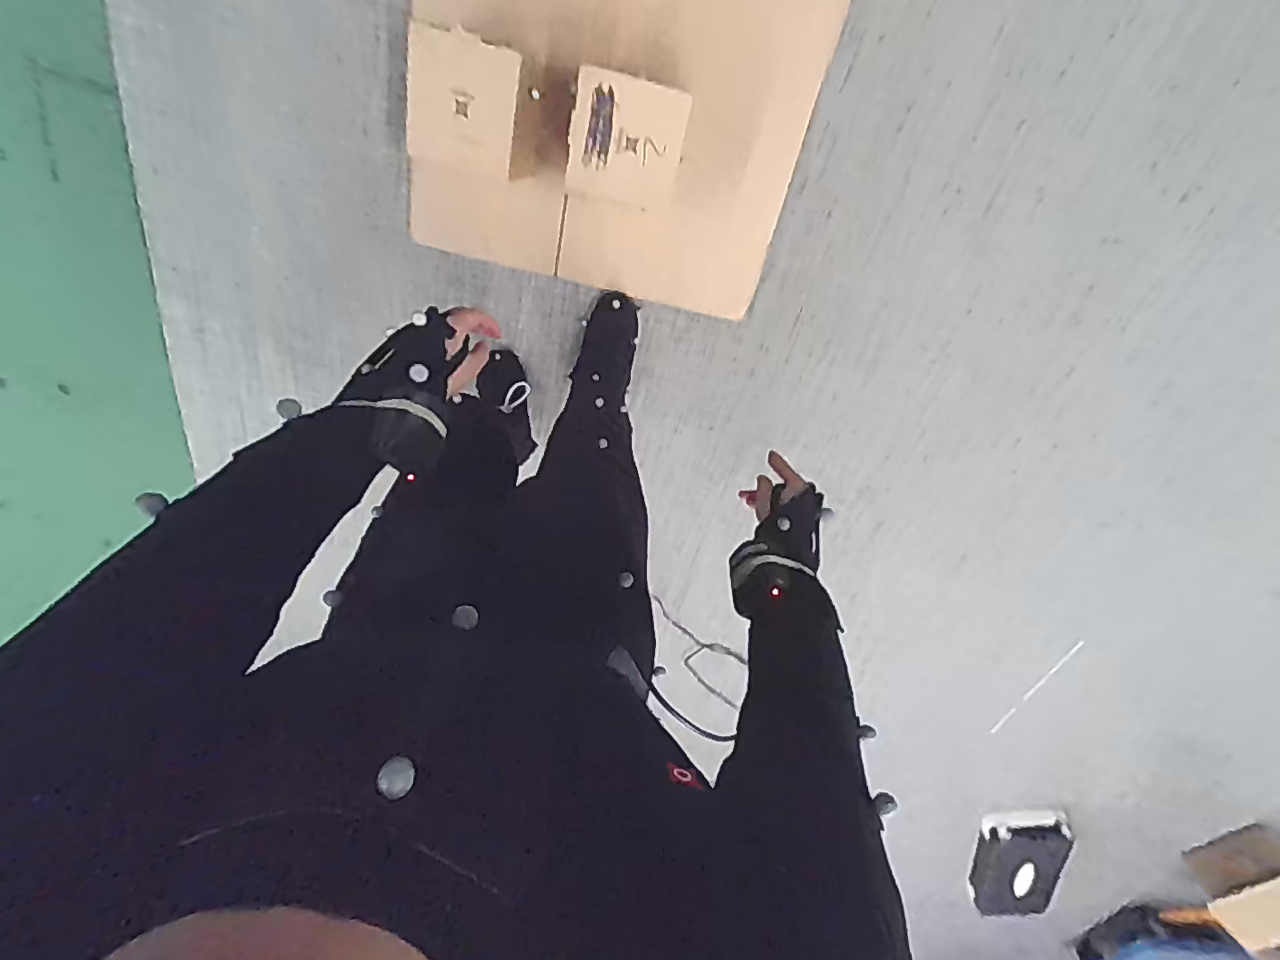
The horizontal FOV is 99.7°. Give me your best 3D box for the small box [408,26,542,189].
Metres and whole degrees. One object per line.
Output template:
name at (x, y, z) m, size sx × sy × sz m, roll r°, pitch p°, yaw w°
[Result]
small box at (-0.265, -0.602, 0.891) m, size 0.168 × 0.176 × 0.179 m, roll 13°, pitch 122°, yaw -5°
